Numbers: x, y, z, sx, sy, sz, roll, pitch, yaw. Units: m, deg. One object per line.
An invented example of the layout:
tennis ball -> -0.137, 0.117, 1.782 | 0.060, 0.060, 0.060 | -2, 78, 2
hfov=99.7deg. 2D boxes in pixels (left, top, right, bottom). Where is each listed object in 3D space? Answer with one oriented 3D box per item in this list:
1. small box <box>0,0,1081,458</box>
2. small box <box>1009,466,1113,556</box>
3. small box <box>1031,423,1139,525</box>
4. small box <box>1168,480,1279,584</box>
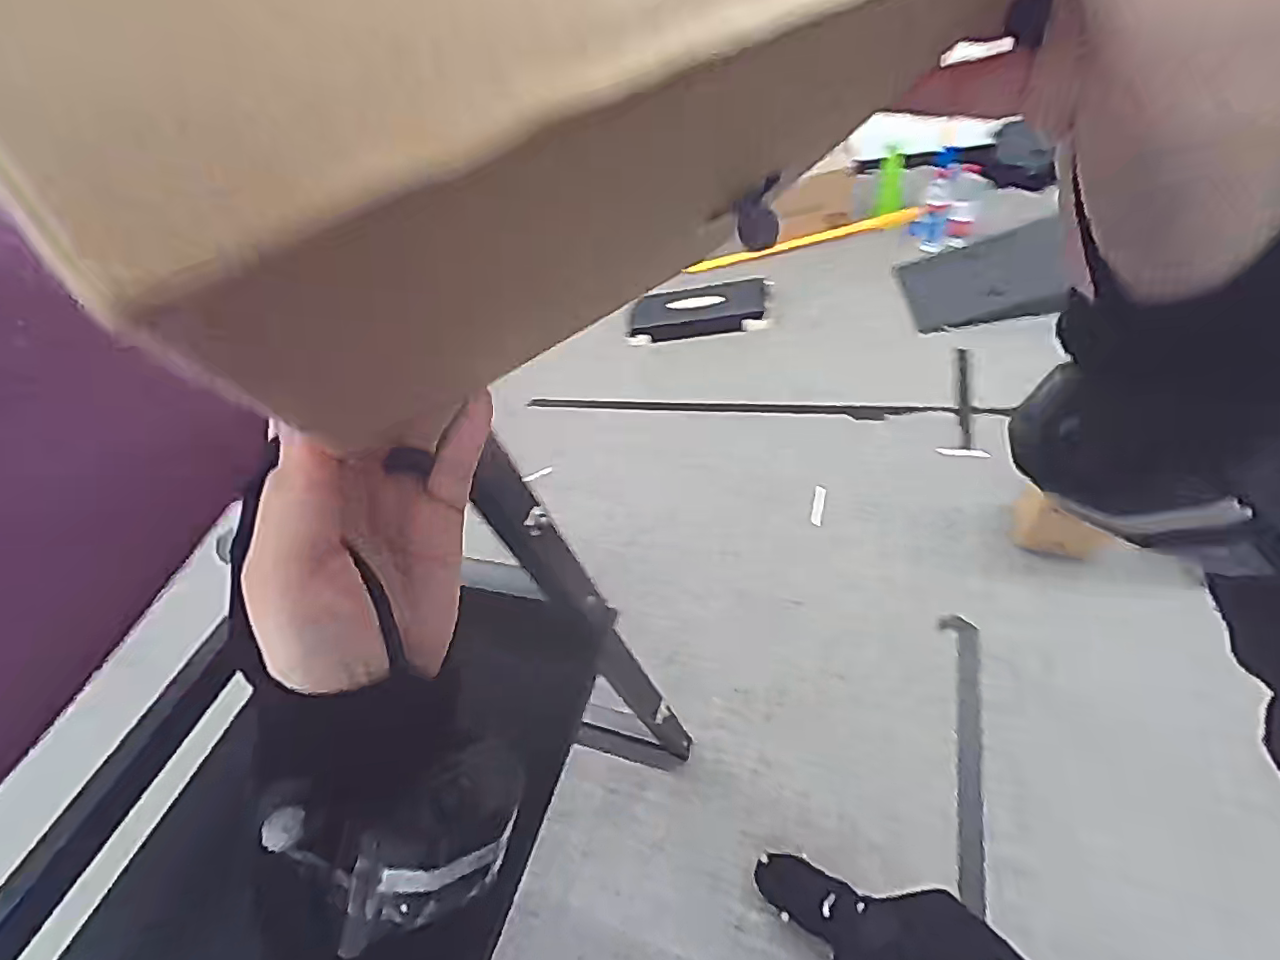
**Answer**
small box -> -0.041, -0.120, 0.127 | 0.179, 0.168, 0.176 | -35, 10, -20
small box -> 1.121, 0.087, 1.452 | 0.179, 0.176, 0.168 | 8, 53, 23
small box -> 1.083, -0.012, 1.326 | 0.168, 0.176, 0.179 | 11, 54, 26
small box -> 1.438, 0.126, 1.313 | 0.168, 0.176, 0.179 | 7, 53, 24
